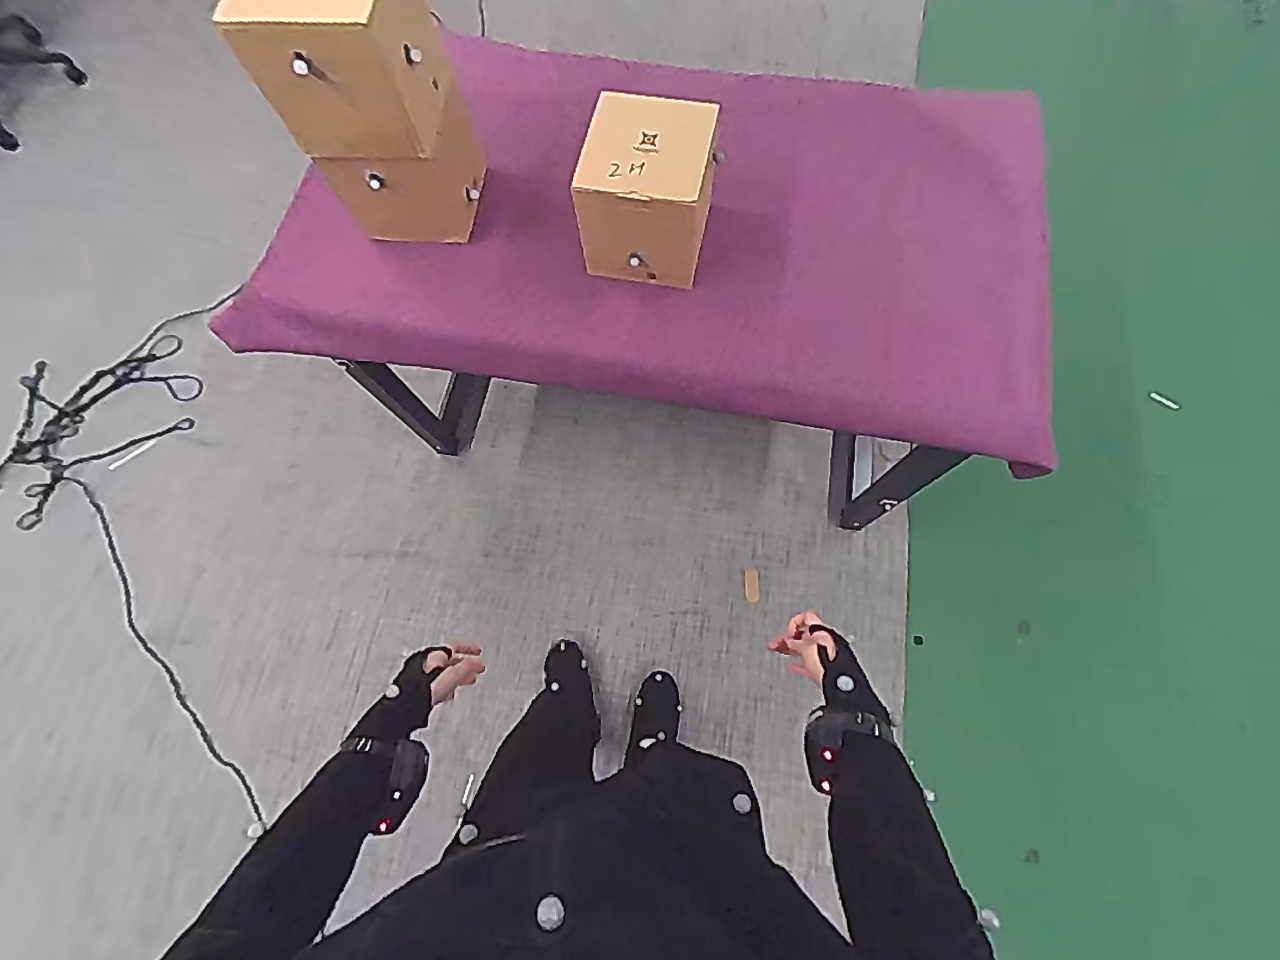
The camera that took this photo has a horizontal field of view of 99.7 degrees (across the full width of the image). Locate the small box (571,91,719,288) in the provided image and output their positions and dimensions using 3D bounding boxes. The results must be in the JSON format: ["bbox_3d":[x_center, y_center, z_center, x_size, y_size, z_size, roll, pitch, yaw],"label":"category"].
[{"bbox_3d":[0.011,-0.411,0.782,0.168,0.176,0.179,11,73,6],"label":"small box"}]

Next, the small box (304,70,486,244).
[{"bbox_3d":[-0.357,-0.486,0.823,0.179,0.176,0.168,5,73,4],"label":"small box"}]

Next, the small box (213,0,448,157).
[{"bbox_3d":[-0.360,-0.531,0.668,0.179,0.176,0.168,3,73,4],"label":"small box"}]
